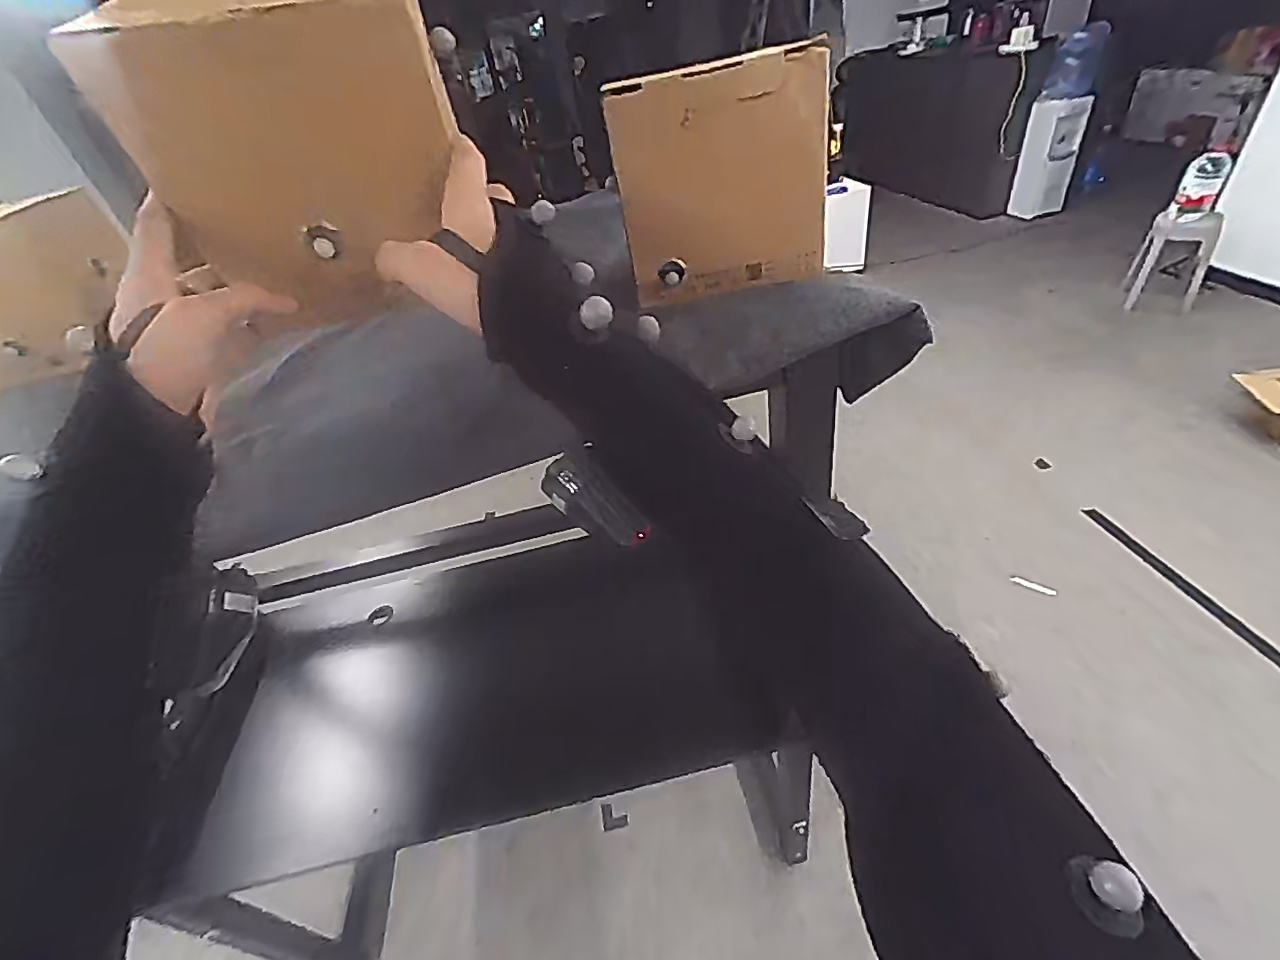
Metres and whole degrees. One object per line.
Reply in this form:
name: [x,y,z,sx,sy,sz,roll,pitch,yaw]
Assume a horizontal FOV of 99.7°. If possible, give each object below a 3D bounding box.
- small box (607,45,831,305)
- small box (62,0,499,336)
small box: [0.070,-0.273,0.497,0.168,0.176,0.179,-9,37,5]
small box: [-0.207,-0.228,0.372,0.168,0.176,0.179,-17,51,-8]
